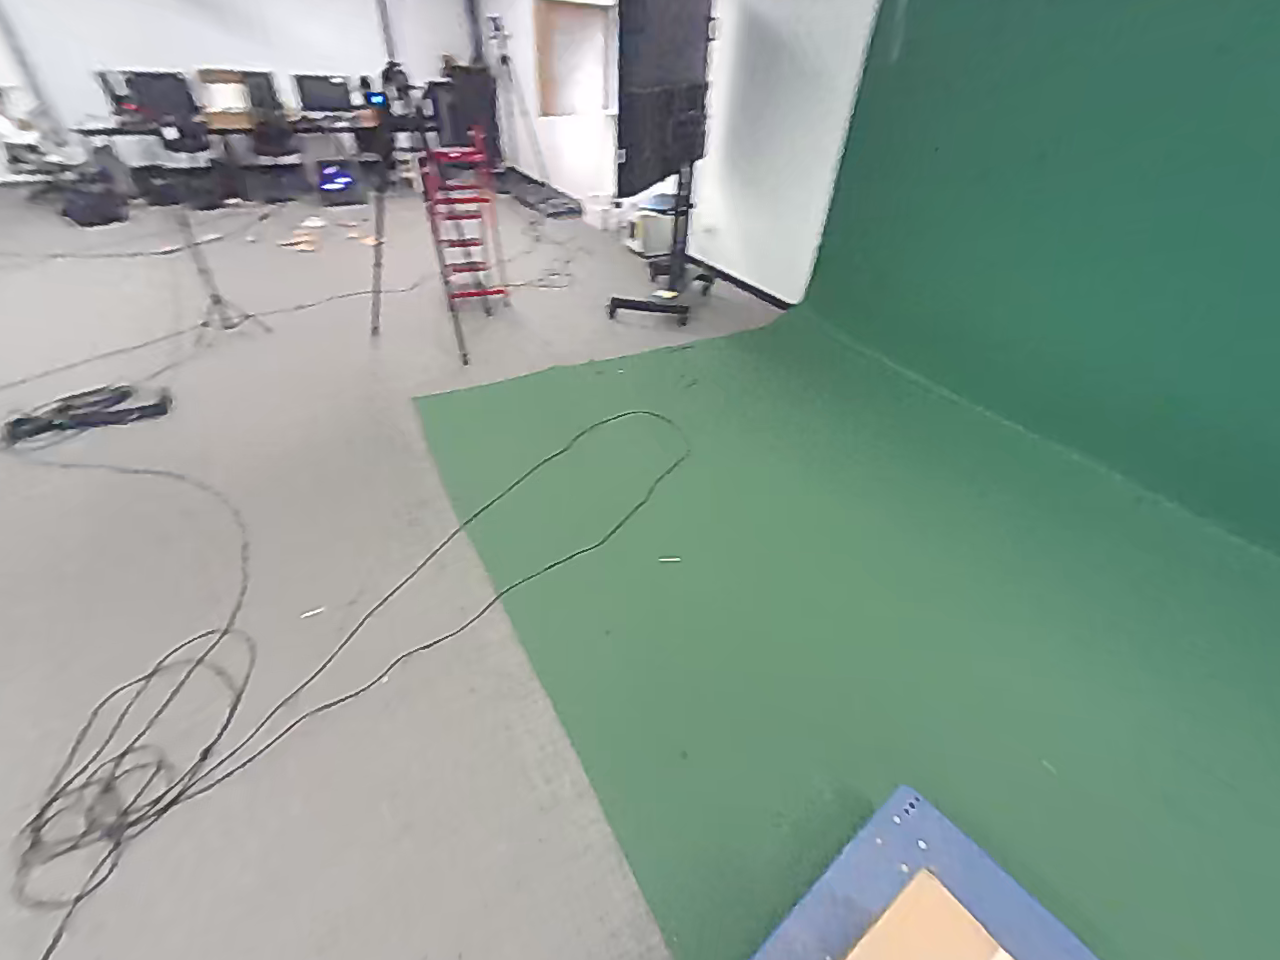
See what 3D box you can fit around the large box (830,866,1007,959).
[{"bbox_3d":[0.452,1.000,0.934,0.408,0.320,0.320,-21,44,-29],"label":"large box"}]
